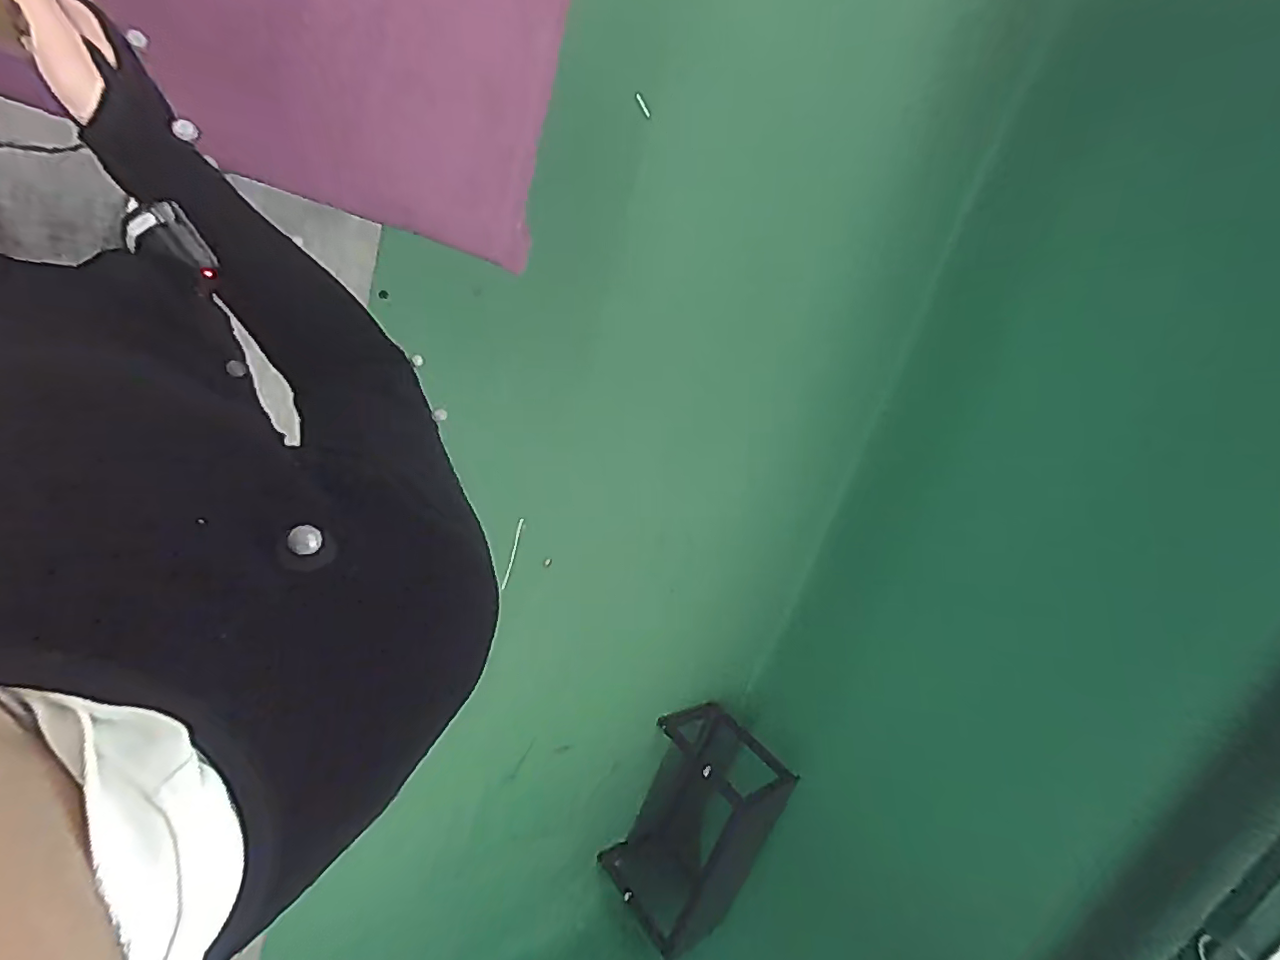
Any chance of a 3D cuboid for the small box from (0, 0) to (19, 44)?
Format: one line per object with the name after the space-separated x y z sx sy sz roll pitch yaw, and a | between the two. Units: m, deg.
-0.519 -0.430 0.335 0.168 0.176 0.179 -1 105 -44 | small box
